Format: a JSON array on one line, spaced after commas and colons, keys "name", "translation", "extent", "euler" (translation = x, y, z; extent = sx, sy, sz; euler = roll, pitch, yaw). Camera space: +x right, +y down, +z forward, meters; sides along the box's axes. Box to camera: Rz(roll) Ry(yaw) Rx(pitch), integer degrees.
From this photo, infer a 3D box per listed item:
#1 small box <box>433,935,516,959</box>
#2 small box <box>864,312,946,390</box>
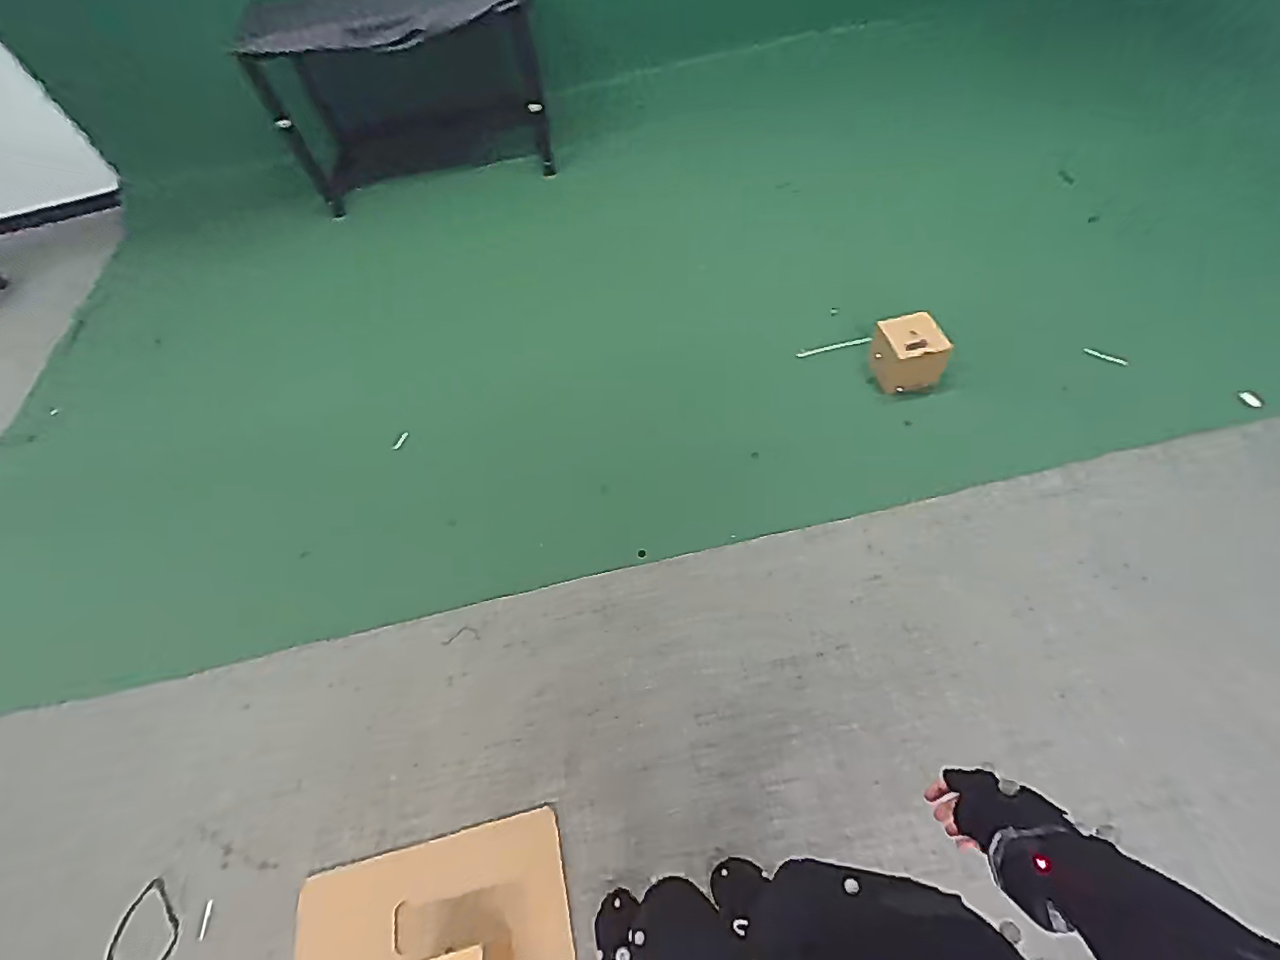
[{"name": "small box", "translation": [-0.343, 1.010, 1.036], "extent": [0.179, 0.176, 0.168], "euler": [-17, 56, -3]}, {"name": "small box", "translation": [0.858, -0.413, 1.766], "extent": [0.168, 0.176, 0.179], "euler": [-13, 56, 1]}]
